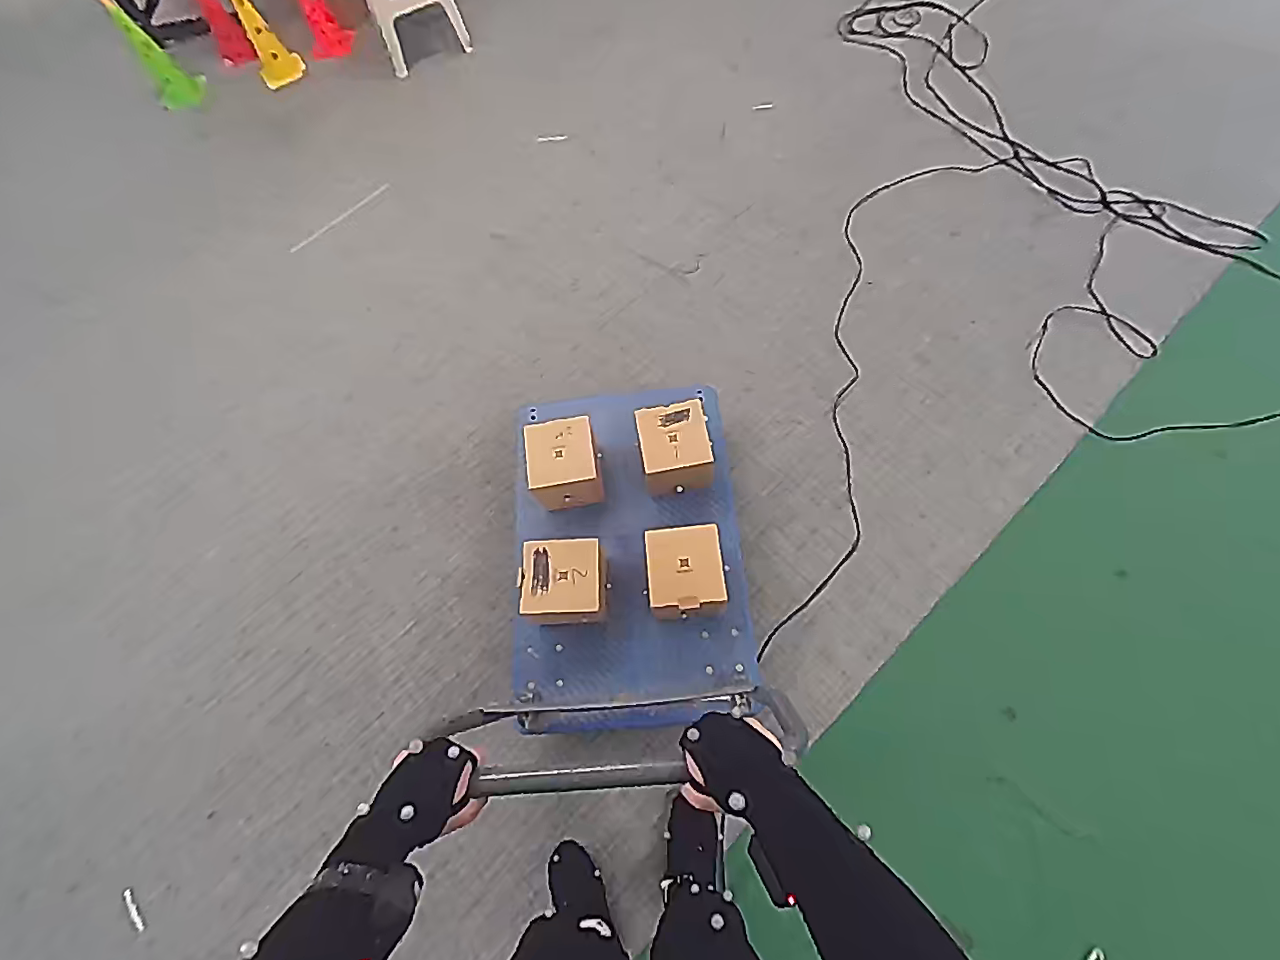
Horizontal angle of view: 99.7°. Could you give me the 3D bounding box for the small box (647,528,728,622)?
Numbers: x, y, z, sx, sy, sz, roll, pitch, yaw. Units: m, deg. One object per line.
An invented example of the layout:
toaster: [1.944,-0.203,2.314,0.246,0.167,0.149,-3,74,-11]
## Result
small box: [0.105,0.225,1.253,0.168,0.176,0.179,-6,68,2]

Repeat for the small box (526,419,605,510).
small box: [-0.186,-0.032,1.380,0.168,0.176,0.179,-9,67,0]

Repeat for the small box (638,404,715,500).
small box: [0.091,-0.068,1.371,0.168,0.176,0.179,-10,68,1]
